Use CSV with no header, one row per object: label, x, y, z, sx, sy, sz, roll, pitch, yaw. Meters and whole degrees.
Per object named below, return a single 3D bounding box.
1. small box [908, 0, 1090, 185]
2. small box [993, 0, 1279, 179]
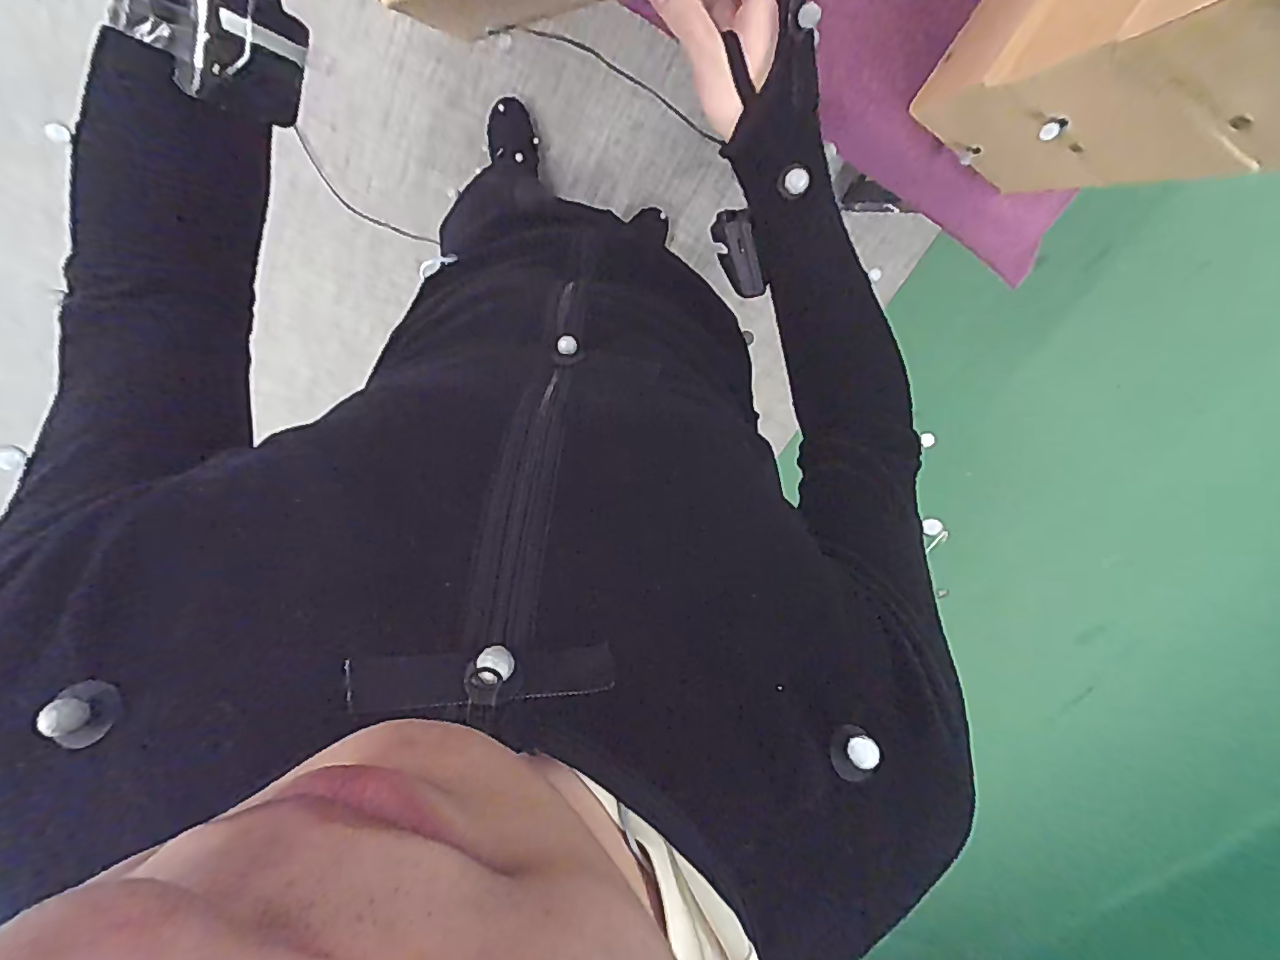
small box,0.445,-0.452,0.595,0.179,0.176,0.168,29,112,-13
small box,0.450,-0.382,0.447,0.168,0.176,0.179,29,112,-12
